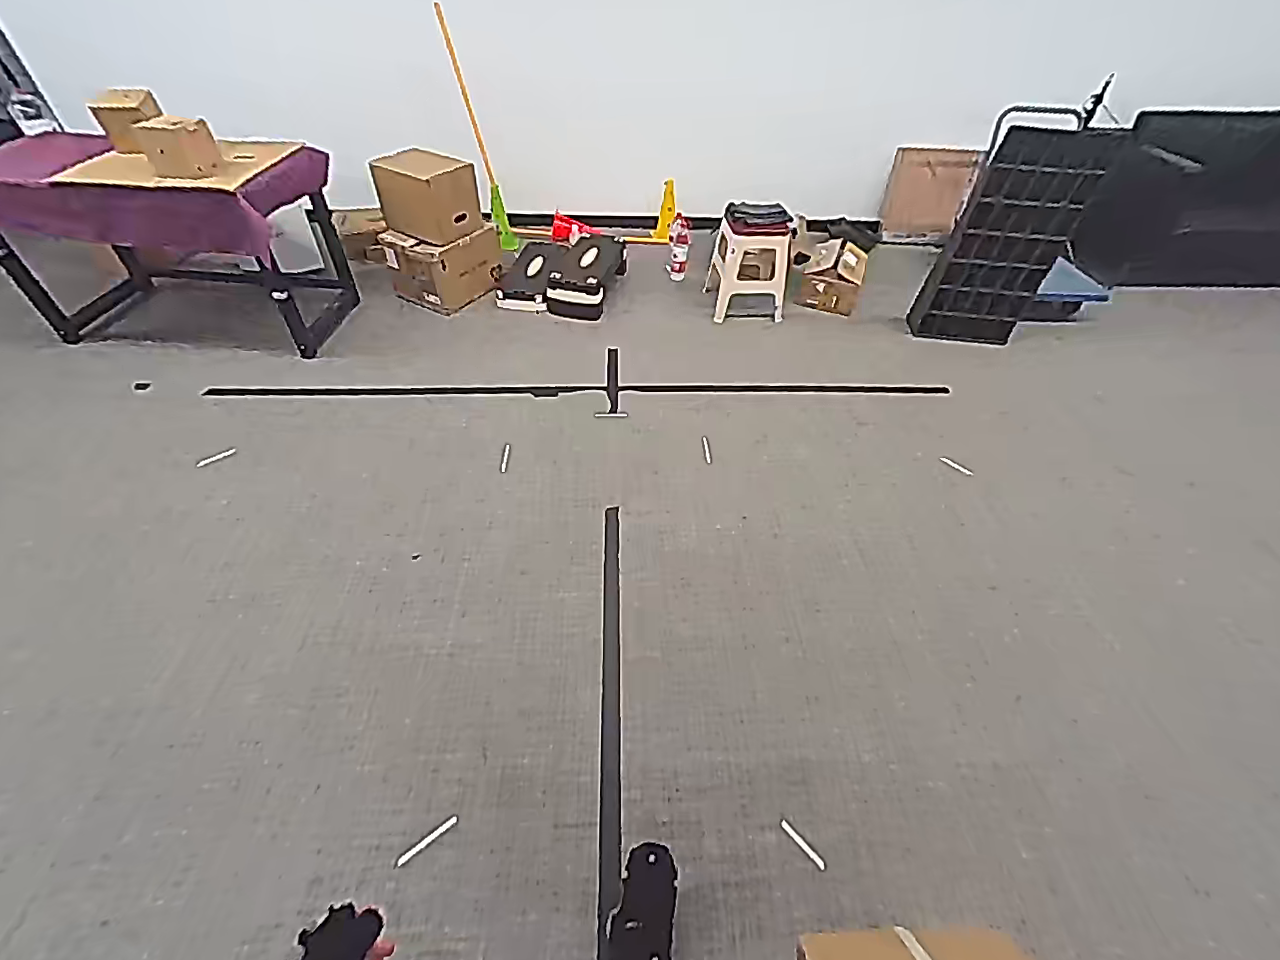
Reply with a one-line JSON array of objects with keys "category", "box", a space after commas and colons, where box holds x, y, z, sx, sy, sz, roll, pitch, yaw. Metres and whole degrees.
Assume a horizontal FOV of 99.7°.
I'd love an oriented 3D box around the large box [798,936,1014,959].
[{"category": "large box", "box": [0.385, 0.801, 0.578, 0.320, 0.408, 0.320, 3, 85, -5]}]
